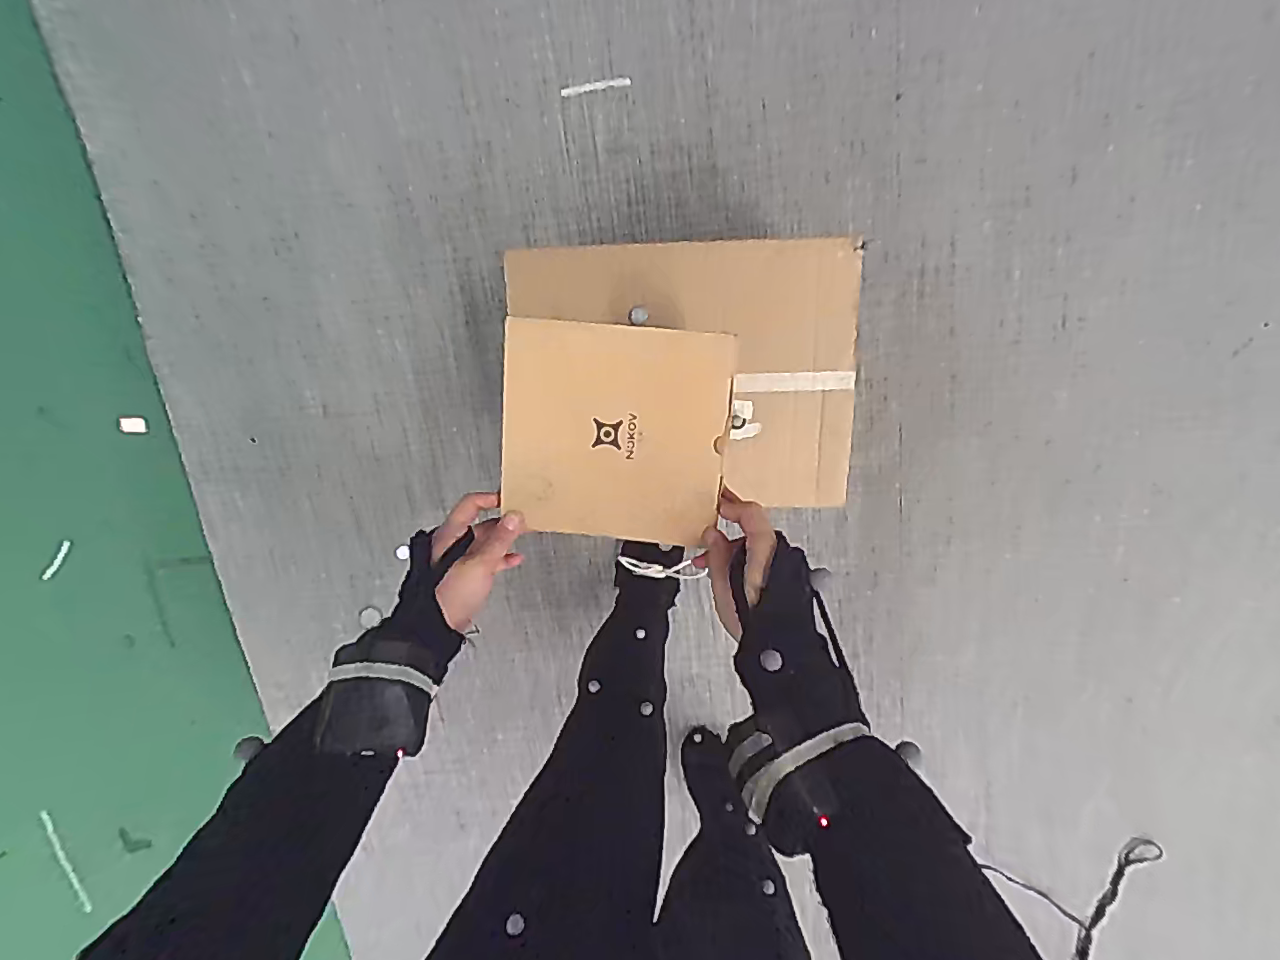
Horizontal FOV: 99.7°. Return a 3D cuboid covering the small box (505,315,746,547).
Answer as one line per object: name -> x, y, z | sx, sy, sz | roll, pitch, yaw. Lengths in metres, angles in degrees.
small box -> -0.009, -0.050, 0.494 | 0.179, 0.176, 0.168 | 6, 102, 3

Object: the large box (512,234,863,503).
large box -> 0.061, -0.153, 0.787 | 0.408, 0.320, 0.320 | -1, 105, 3
